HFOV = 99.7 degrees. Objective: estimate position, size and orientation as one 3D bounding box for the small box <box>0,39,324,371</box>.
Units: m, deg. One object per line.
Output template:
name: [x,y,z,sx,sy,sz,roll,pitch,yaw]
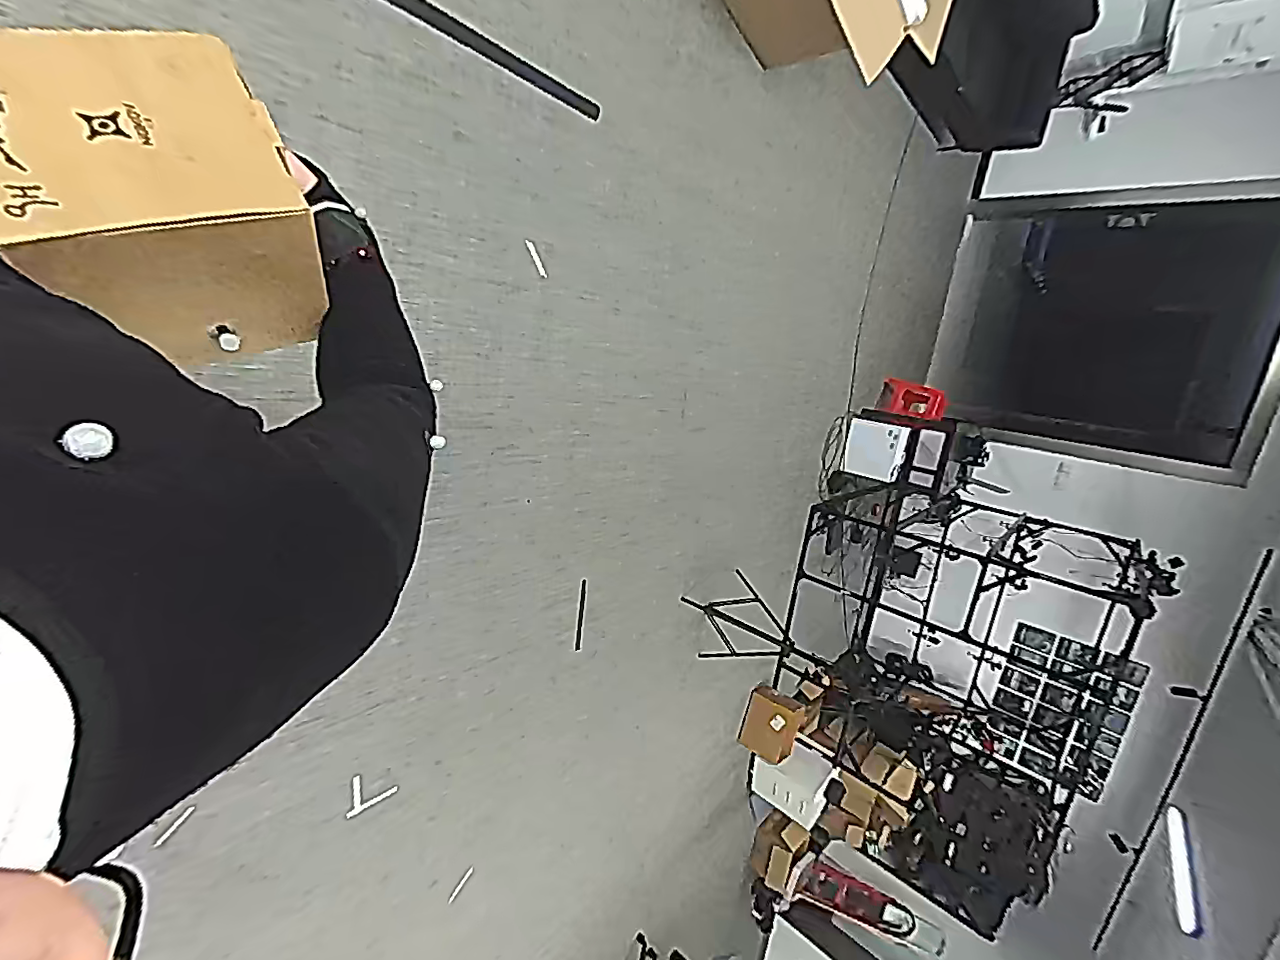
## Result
small box: [-0.387,-0.217,0.451,0.179,0.176,0.168,-25,81,-30]
